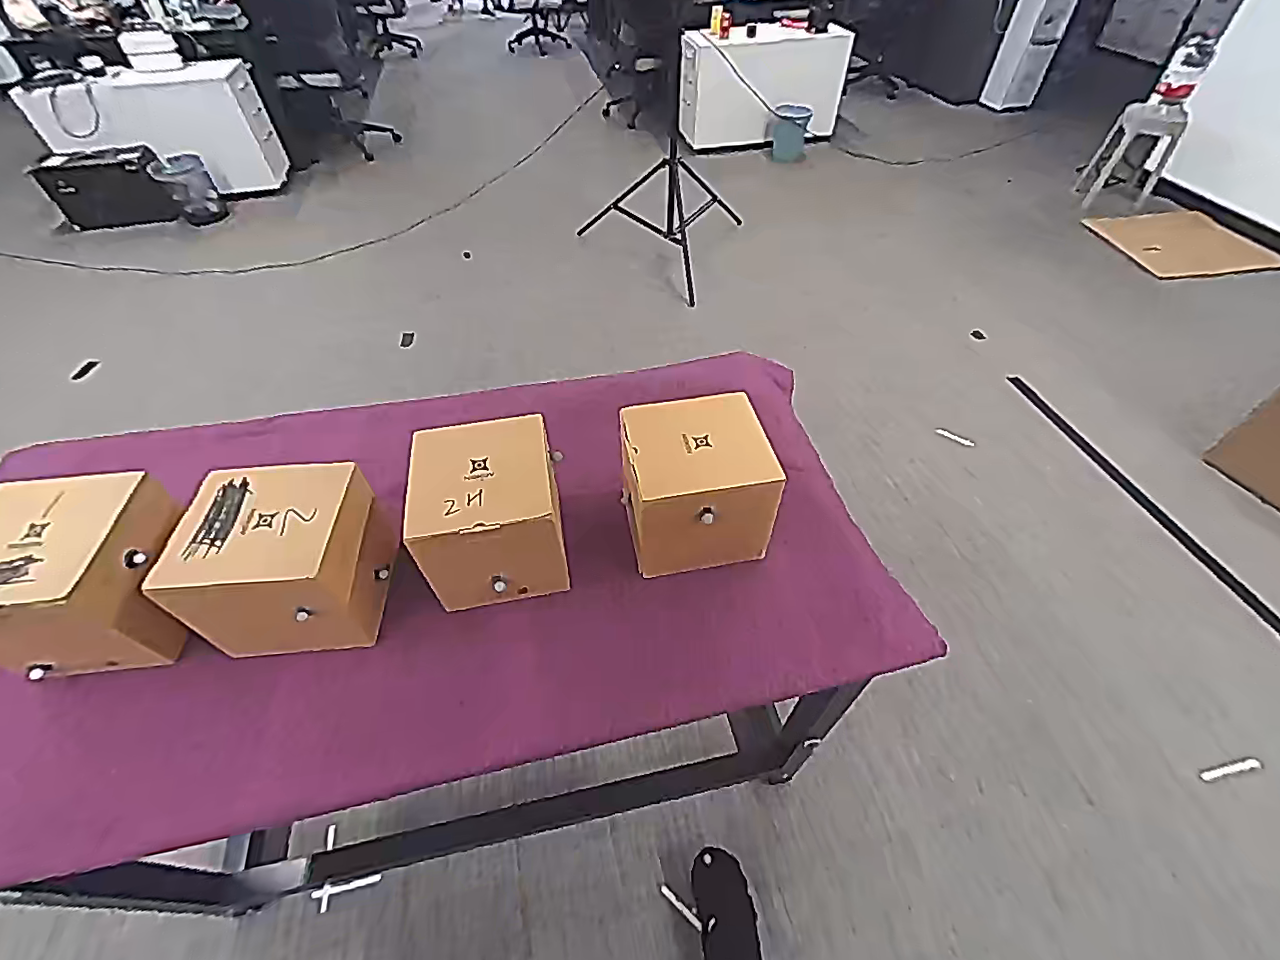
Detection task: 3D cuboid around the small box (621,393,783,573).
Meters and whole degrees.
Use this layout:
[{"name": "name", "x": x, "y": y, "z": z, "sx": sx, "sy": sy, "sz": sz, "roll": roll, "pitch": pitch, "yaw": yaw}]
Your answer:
[{"name": "small box", "x": 0.073, "y": 0.007, "z": 0.739, "sx": 0.179, "sy": 0.176, "sz": 0.168, "roll": -9, "pitch": 48, "yaw": -5}]

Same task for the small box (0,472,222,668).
[{"name": "small box", "x": -0.660, "y": 0.115, "z": 0.655, "sx": 0.168, "sy": 0.176, "sz": 0.179, "roll": -5, "pitch": 50, "yaw": -4}]

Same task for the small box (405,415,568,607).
[{"name": "small box", "x": -0.191, "y": 0.041, "z": 0.713, "sx": 0.168, "sy": 0.176, "sz": 0.179, "roll": -9, "pitch": 50, "yaw": -6}]
